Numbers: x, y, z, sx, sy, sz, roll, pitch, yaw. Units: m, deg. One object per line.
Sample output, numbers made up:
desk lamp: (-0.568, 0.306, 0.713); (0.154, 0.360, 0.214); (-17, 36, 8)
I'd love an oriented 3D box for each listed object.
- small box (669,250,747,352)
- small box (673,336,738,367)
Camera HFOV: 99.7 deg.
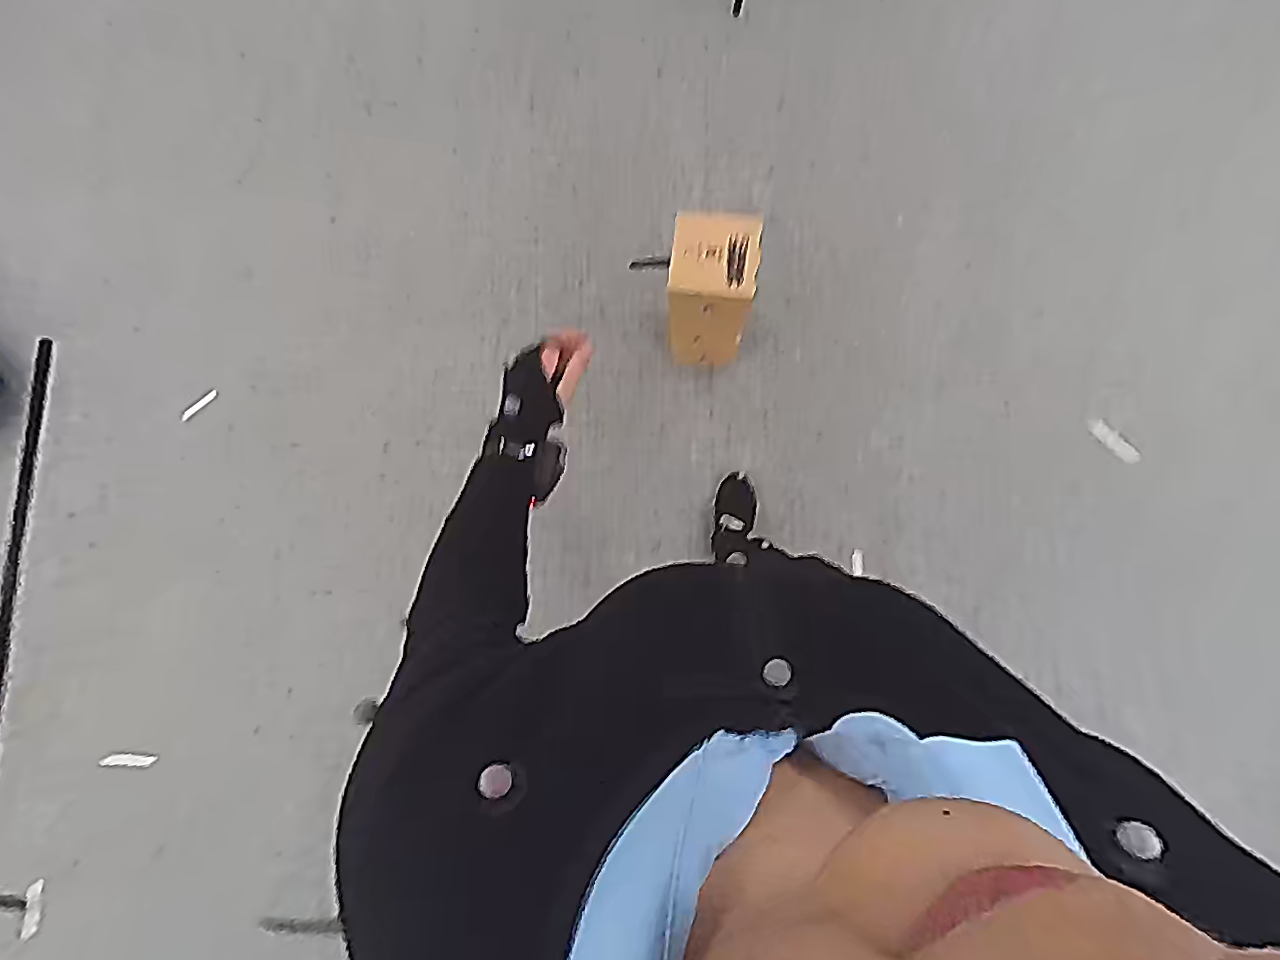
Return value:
small box: (0.160, -0.430, 1.314); (0.168, 0.176, 0.179); (5, 84, 4)
small box: (0.174, -0.415, 1.475); (0.168, 0.176, 0.179); (-2, 82, 2)
